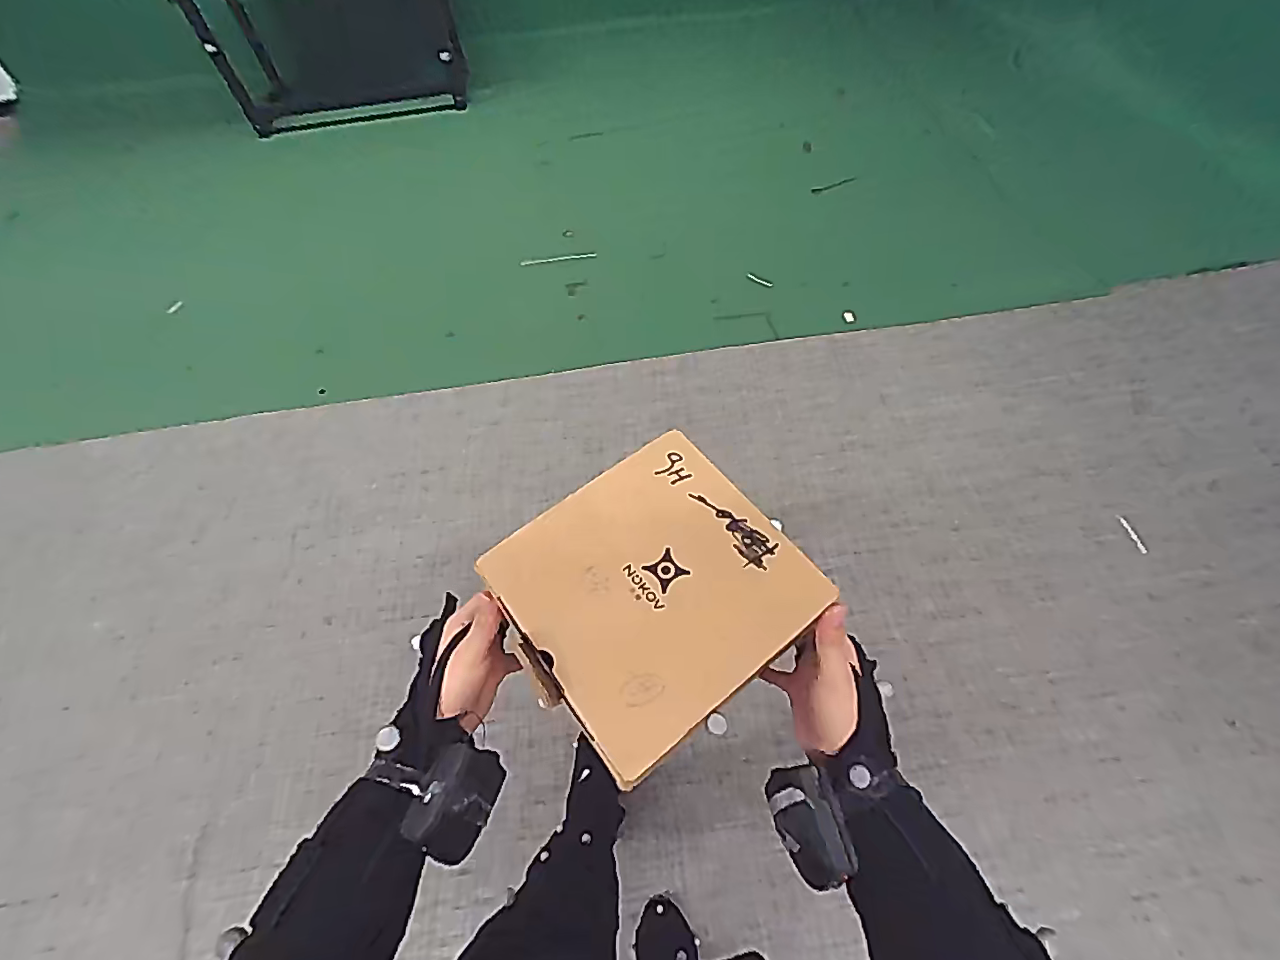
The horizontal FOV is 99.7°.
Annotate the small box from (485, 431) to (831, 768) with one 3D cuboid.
[{"bbox_3d":[0.012,0.102,0.427,0.179,0.176,0.168,-34,66,-17],"label":"small box"}]
